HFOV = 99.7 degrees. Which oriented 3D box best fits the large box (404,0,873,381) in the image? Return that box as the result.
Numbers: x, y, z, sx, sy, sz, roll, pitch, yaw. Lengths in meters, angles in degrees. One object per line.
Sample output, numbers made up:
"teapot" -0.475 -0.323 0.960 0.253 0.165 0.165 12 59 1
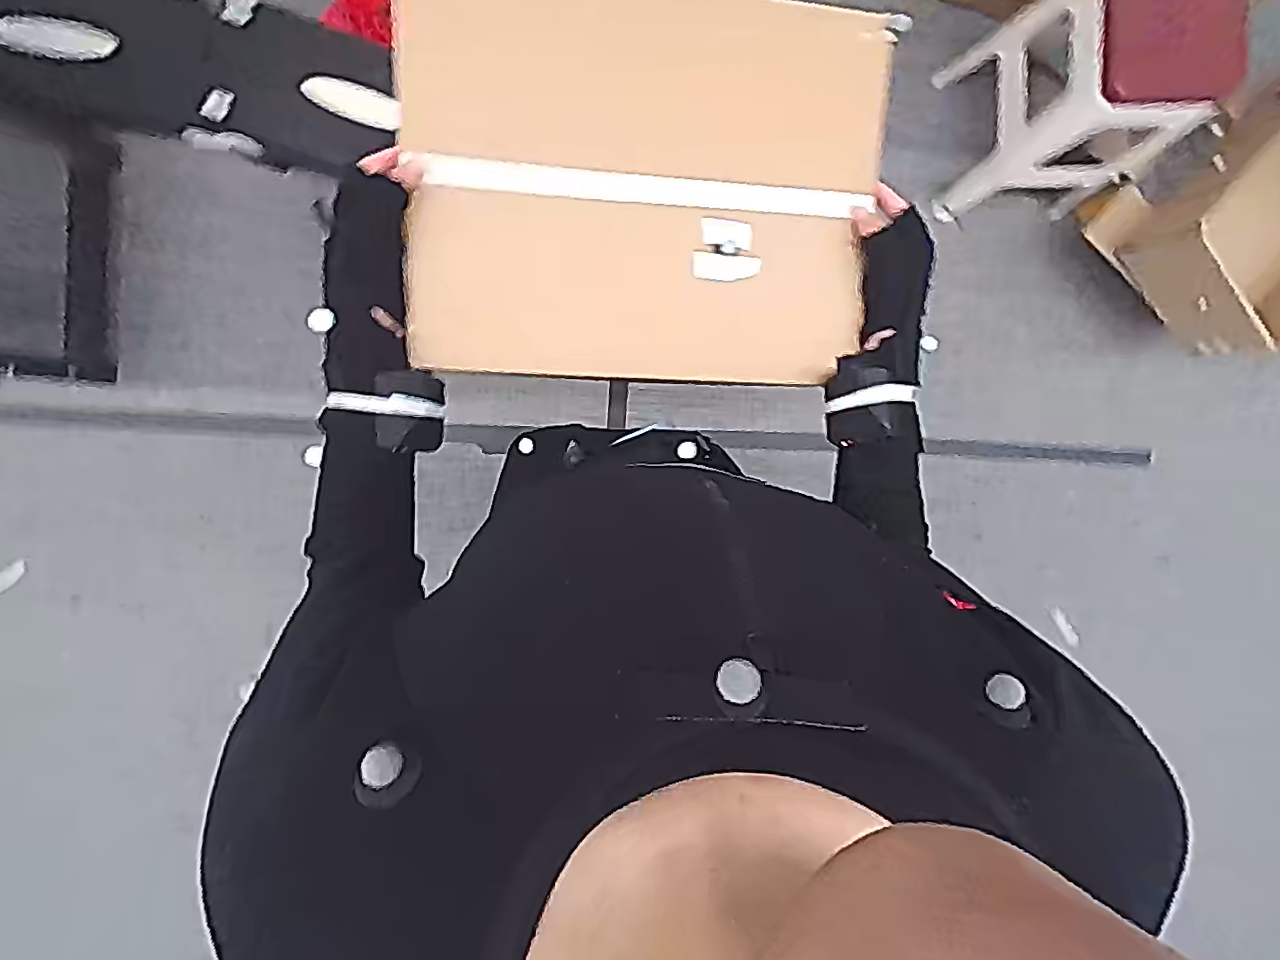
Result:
"large box" -0.017 -0.274 0.616 0.408 0.320 0.320 0 101 -10
